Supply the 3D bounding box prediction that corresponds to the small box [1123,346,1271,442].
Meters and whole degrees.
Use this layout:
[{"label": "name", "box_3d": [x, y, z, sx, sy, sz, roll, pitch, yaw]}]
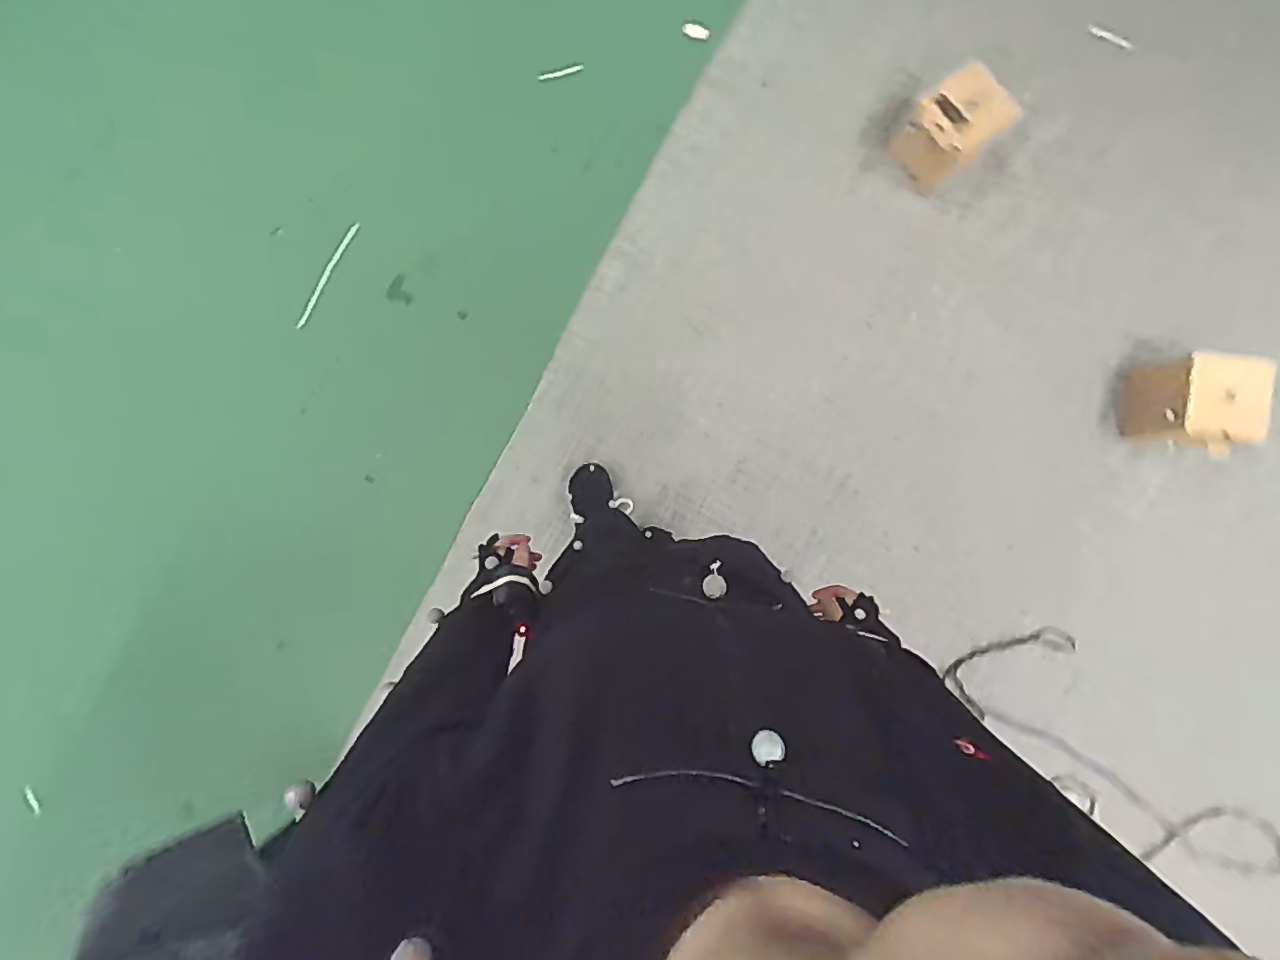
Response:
[{"label": "small box", "box_3d": [1.256, -0.189, 1.231, 0.168, 0.176, 0.179, 7, 89, 4]}]
